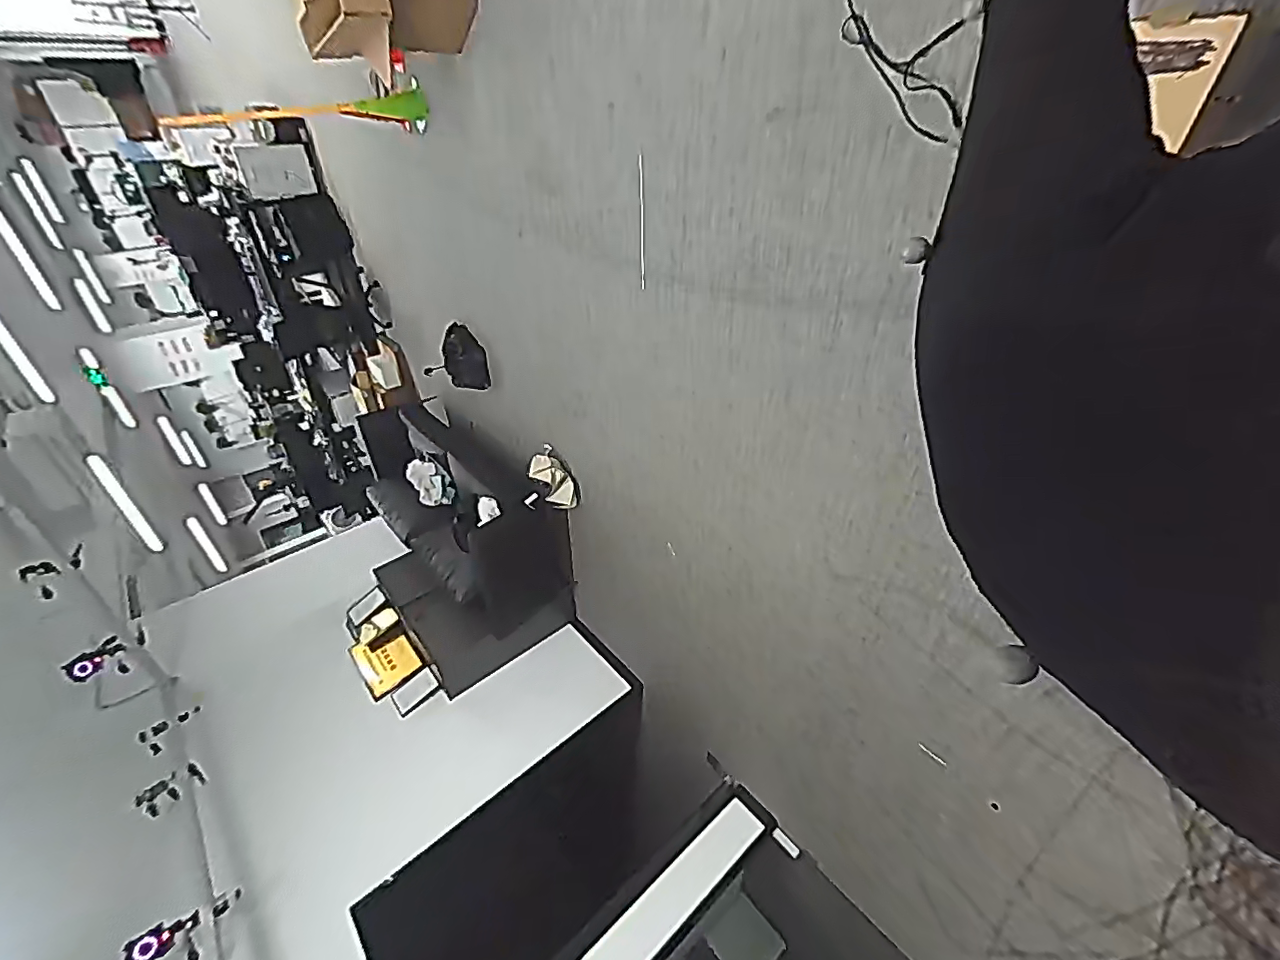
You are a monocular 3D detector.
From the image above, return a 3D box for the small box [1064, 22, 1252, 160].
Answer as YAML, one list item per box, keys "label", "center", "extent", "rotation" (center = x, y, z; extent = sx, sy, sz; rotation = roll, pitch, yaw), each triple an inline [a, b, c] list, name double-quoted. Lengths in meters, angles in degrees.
- label: "small box"
  center: [0.885, -0.666, 0.927]
  extent: [0.168, 0.176, 0.179]
  rotation: [36, 140, 36]
